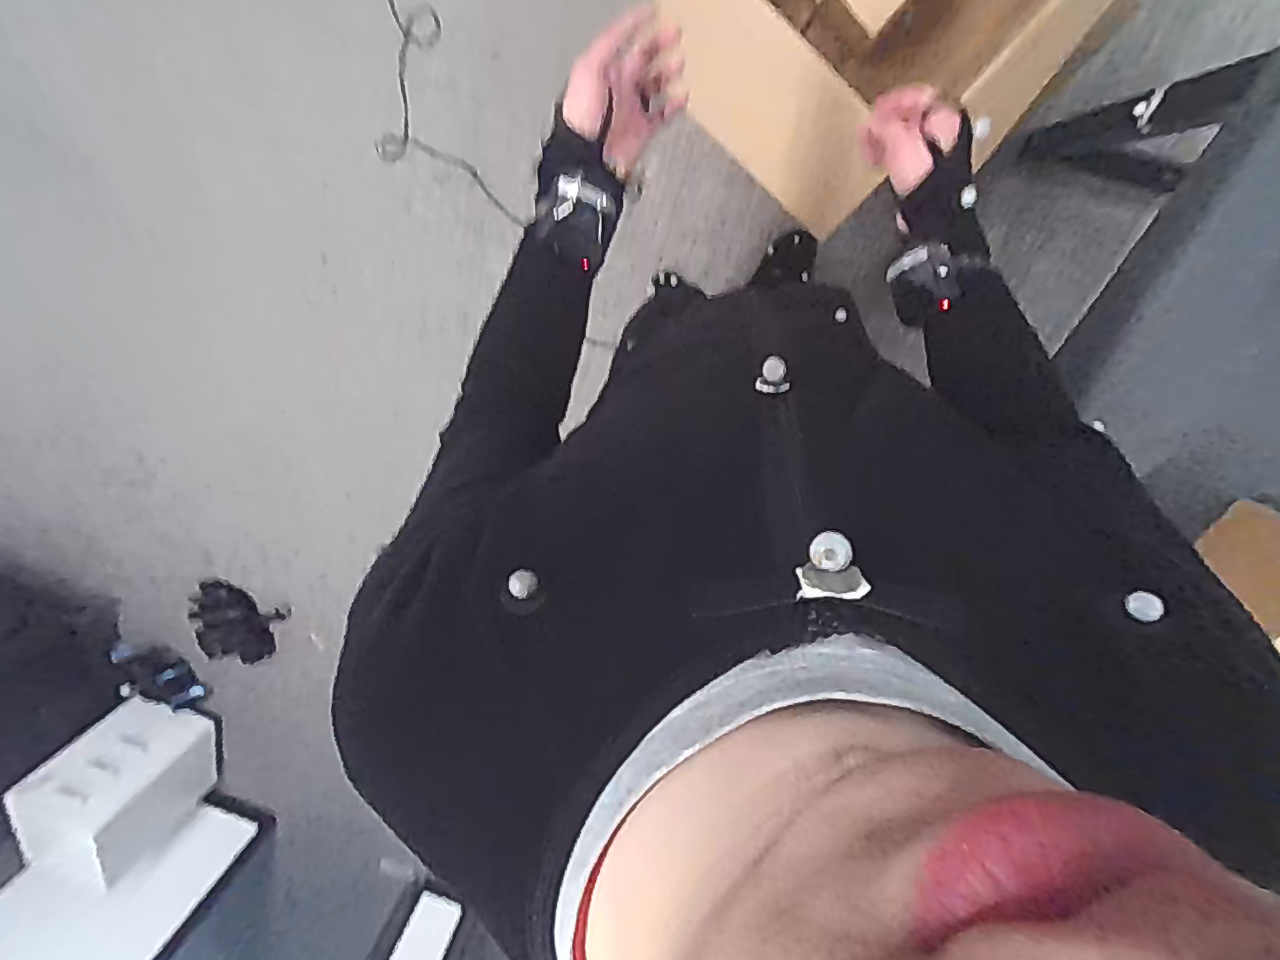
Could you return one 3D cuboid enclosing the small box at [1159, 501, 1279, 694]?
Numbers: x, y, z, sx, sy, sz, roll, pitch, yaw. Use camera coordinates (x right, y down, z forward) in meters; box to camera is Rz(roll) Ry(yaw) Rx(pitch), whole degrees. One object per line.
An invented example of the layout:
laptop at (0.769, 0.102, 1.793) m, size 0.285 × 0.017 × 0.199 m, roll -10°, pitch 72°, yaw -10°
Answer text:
small box at (0.821, 0.157, 0.676) m, size 0.168 × 0.176 × 0.179 m, roll 21°, pitch 117°, yaw 1°
